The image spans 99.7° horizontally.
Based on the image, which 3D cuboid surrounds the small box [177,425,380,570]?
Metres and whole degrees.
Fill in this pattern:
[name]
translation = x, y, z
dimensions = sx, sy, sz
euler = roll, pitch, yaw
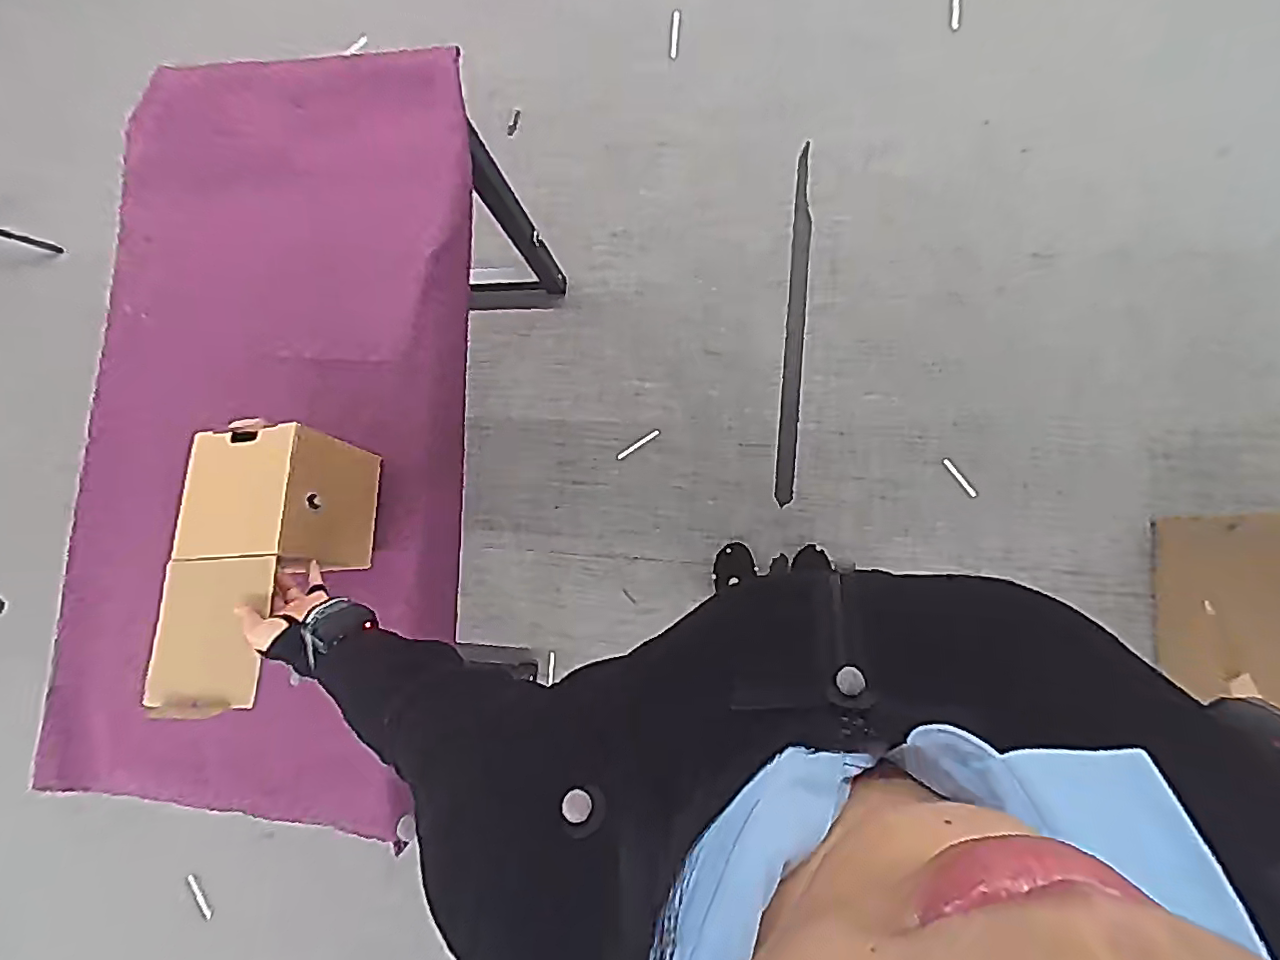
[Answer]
[small box]
translation = -0.500, 0.037, 0.773
dimensions = 0.168, 0.176, 0.179
euler = -5, 75, 12
